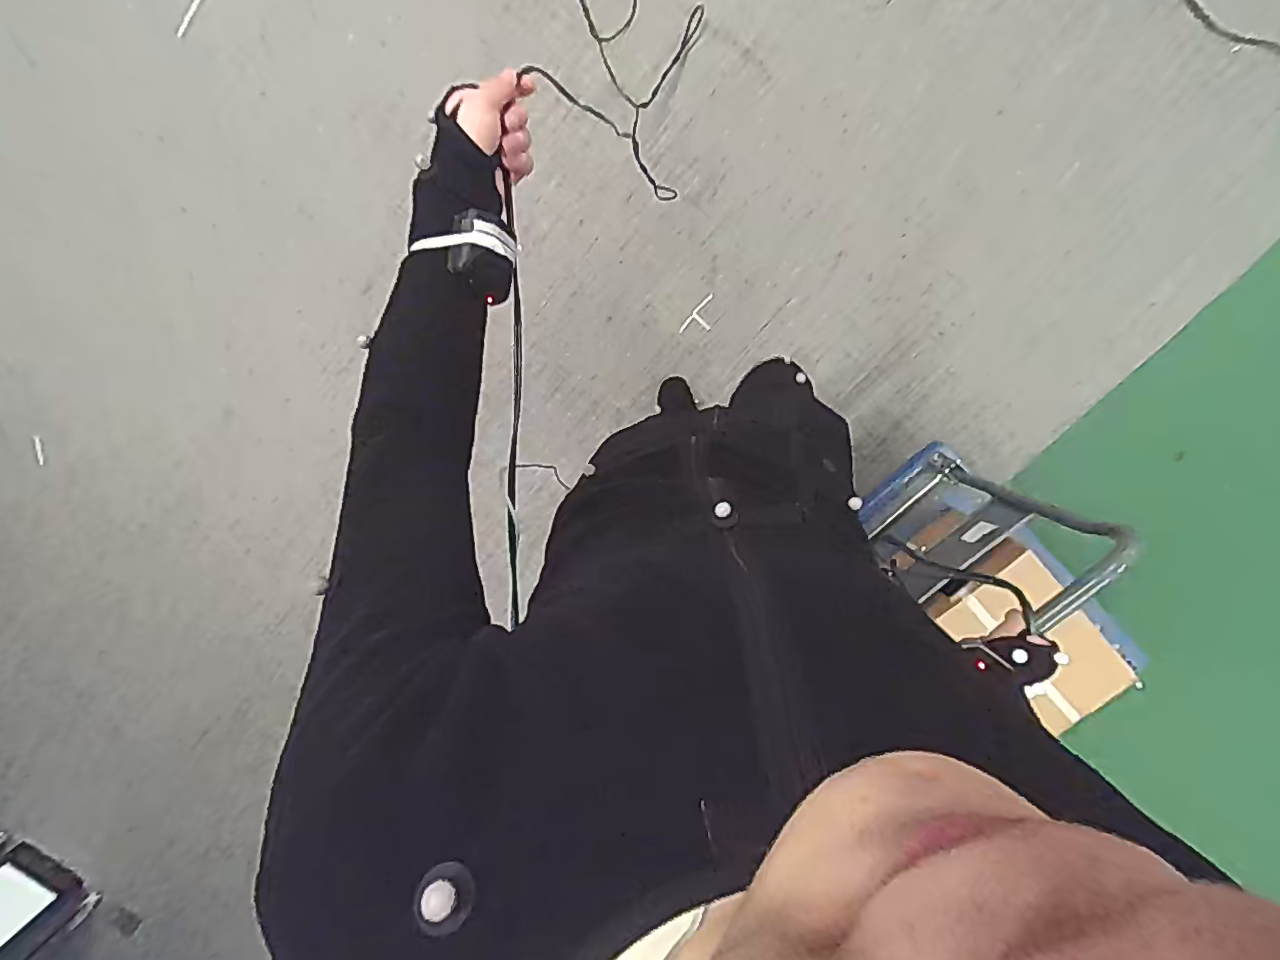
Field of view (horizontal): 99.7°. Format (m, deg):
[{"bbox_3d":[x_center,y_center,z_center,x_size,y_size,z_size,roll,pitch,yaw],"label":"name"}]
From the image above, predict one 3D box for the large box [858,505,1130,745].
[{"bbox_3d":[0.822,0.330,1.316,0.320,0.320,0.408,-42,98,12],"label":"large box"}]
